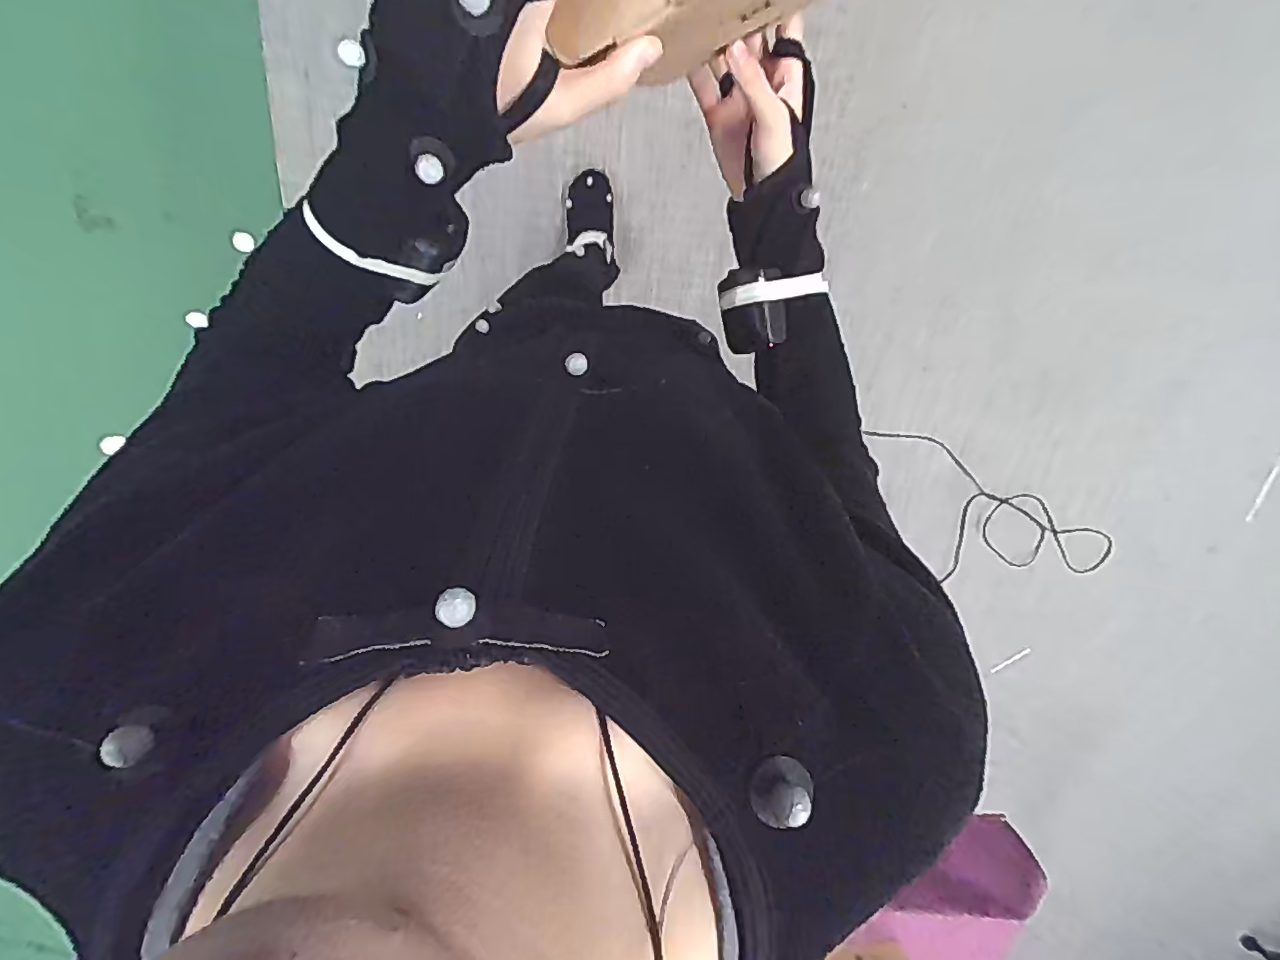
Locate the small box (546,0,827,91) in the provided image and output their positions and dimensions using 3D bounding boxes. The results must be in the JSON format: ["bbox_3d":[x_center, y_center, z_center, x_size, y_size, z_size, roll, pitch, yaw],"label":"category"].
[{"bbox_3d":[0.029,-0.320,0.251,0.168,0.179,0.176,-9,117,27],"label":"small box"}]

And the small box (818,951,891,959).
[{"bbox_3d":[0.461,1.113,1.113,0.168,0.176,0.179,0,112,0],"label":"small box"}]
